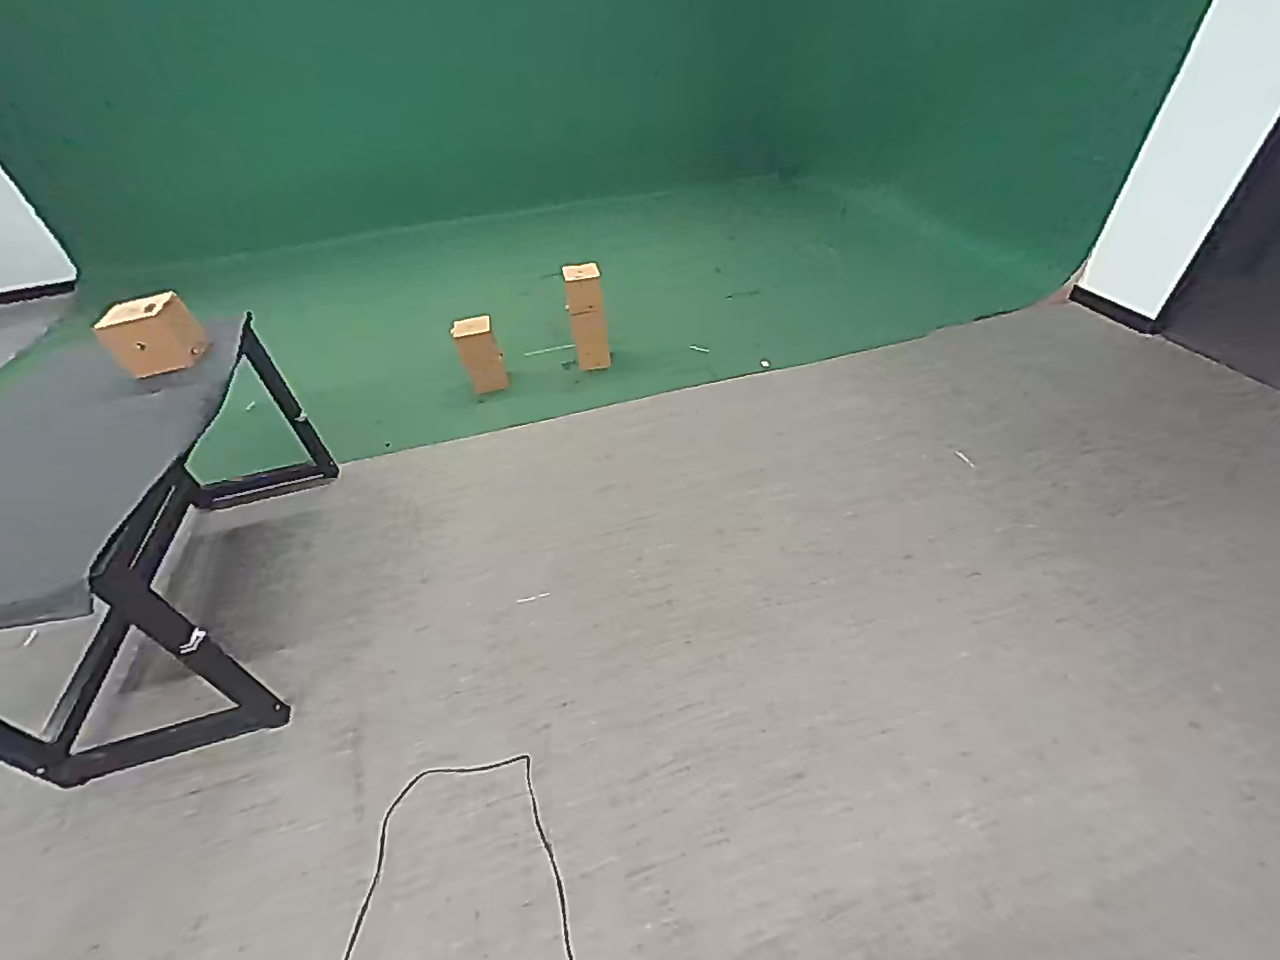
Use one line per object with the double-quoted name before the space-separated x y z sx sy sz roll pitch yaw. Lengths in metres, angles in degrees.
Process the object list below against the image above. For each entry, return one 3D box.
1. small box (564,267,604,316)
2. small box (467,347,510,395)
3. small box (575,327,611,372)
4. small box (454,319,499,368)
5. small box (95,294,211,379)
"small box" -0.276 -0.918 2.639 0.168 0.176 0.179 -10 42 -7
"small box" -0.781 -0.555 2.776 0.179 0.176 0.168 -14 44 -9
"small box" -0.251 -0.686 2.870 0.168 0.176 0.179 -8 43 -3
"small box" -0.804 -0.670 2.664 0.179 0.176 0.168 -12 44 -8
"small box" -1.456 -0.432 1.634 0.179 0.176 0.168 -16 45 -7
